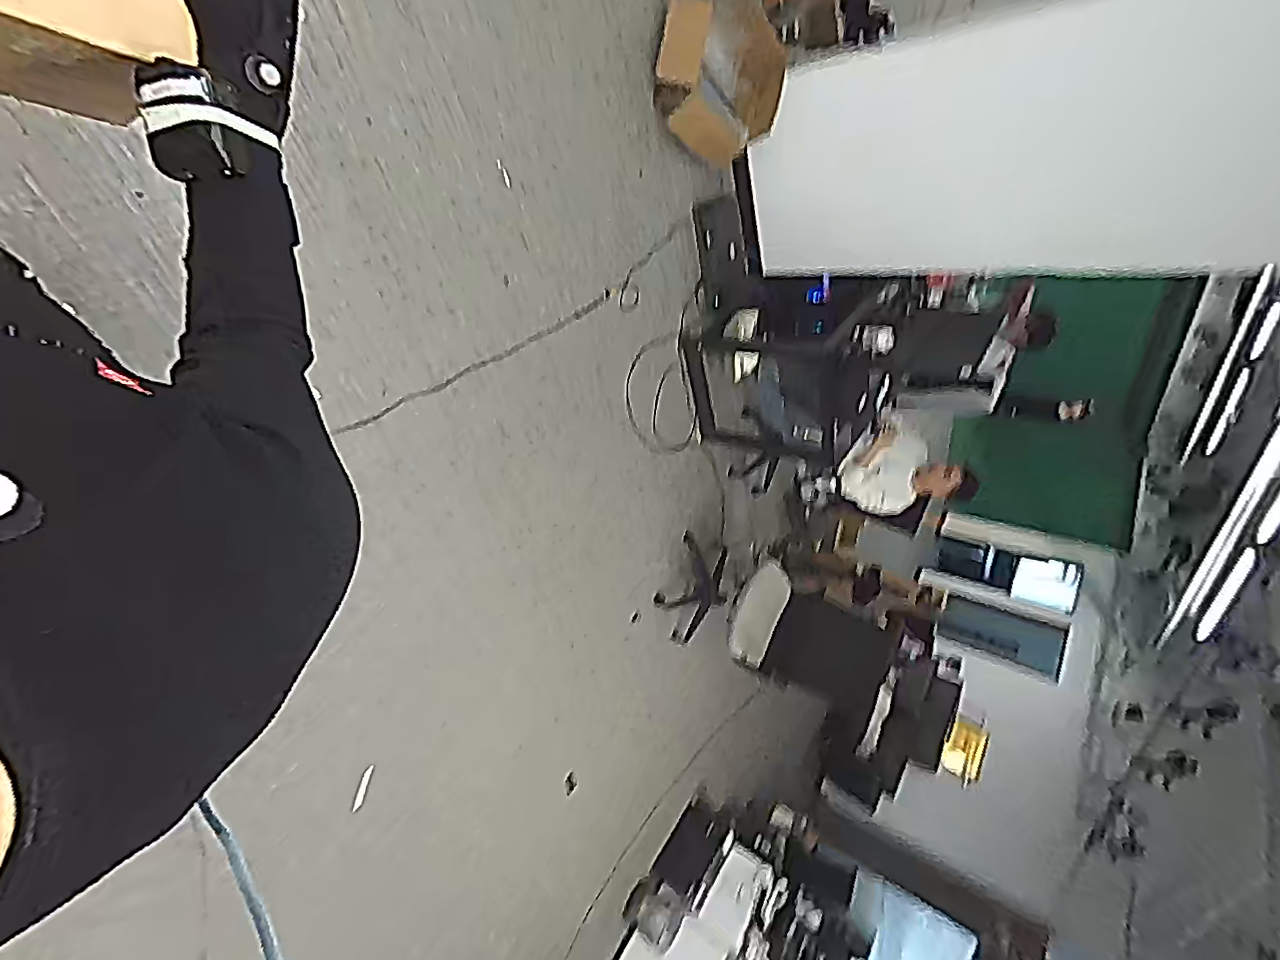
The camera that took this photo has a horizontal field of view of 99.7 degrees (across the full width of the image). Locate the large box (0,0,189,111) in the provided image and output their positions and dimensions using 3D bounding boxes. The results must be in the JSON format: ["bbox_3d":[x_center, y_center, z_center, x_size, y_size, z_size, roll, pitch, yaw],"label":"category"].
[{"bbox_3d":[-0.548,-0.452,0.285,0.408,0.320,0.320,-13,118,-48],"label":"large box"}]
